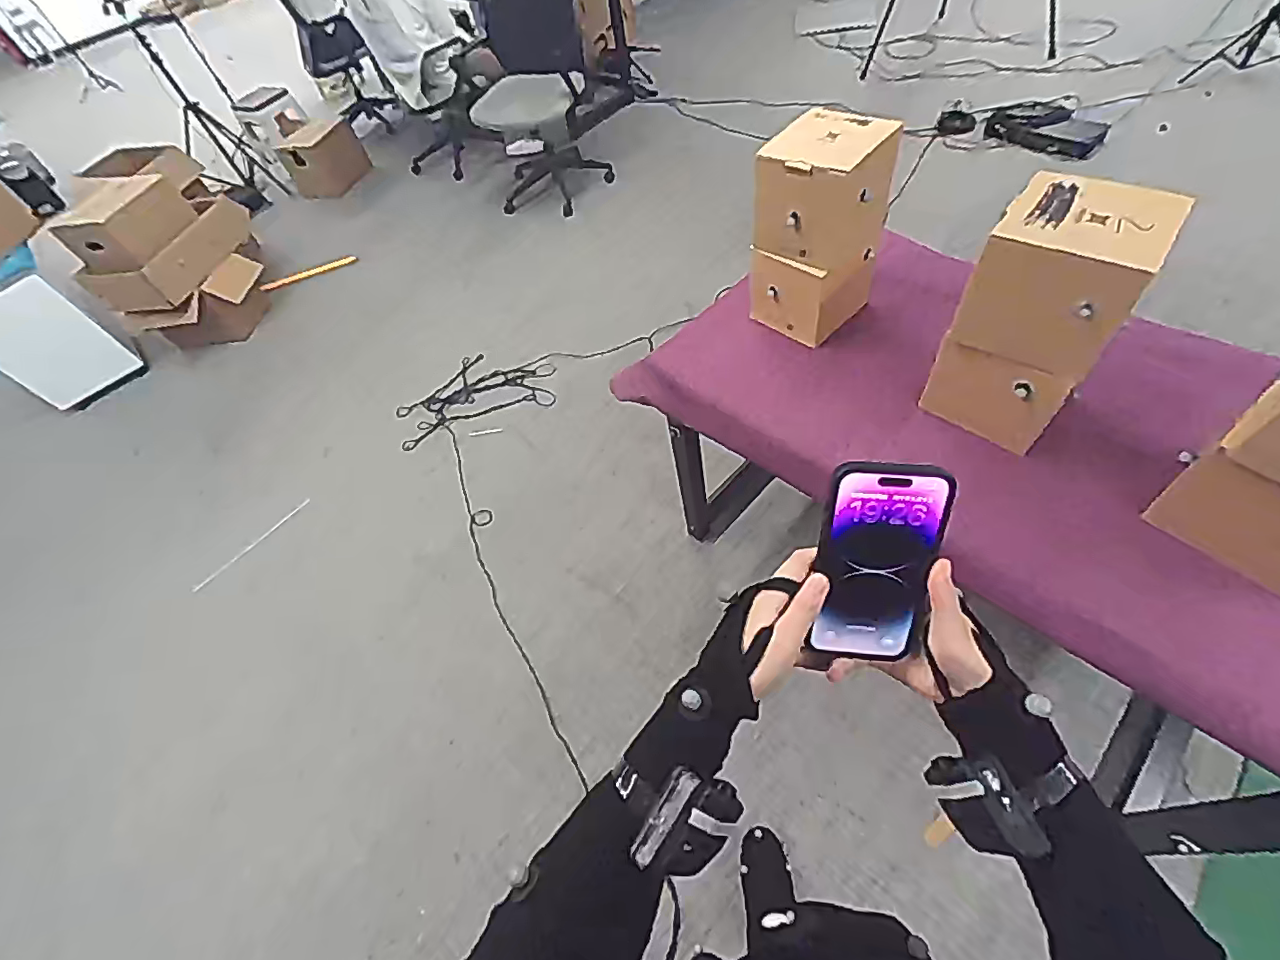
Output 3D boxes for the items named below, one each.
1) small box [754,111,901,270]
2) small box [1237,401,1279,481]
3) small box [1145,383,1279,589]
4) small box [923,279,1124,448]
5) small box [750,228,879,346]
[{"bbox_3d":[0.314,-0.492,0.927,0.168,0.176,0.179,33,67,28],"label":"small box"},{"bbox_3d":[0.776,-0.067,0.532,0.168,0.176,0.179,-36,57,-15],"label":"small box"},{"bbox_3d":[0.808,0.013,0.673,0.168,0.176,0.179,-36,55,-15],"label":"small box"},{"bbox_3d":[0.585,-0.176,0.850,0.168,0.176,0.179,-41,57,-18],"label":"small box"},{"bbox_3d":[0.335,-0.393,1.057,0.179,0.176,0.168,-41,57,-18],"label":"small box"}]
